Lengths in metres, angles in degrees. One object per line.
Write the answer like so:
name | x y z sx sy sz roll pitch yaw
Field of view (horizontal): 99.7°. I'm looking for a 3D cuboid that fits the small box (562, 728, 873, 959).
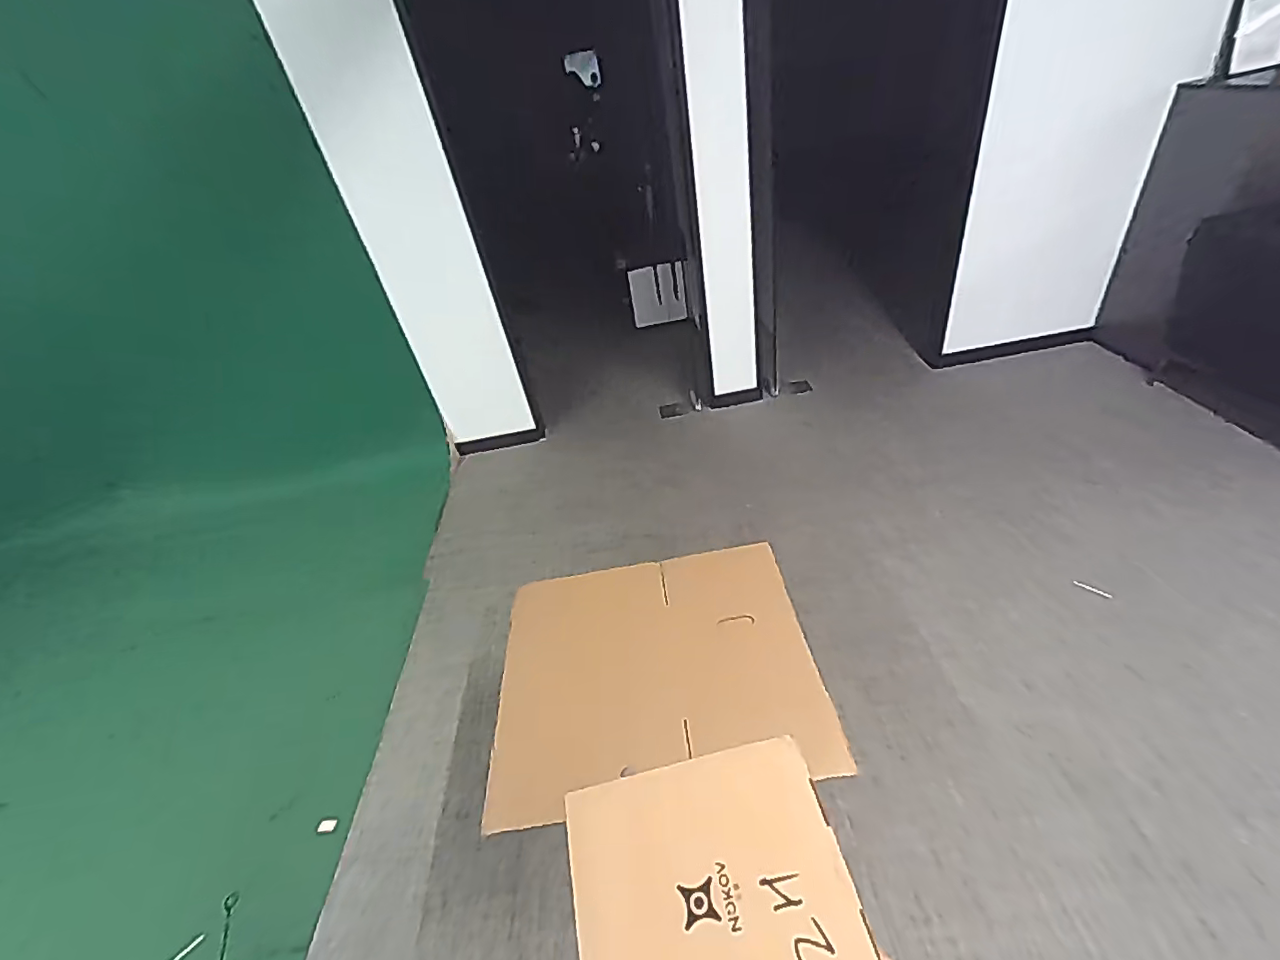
small box | 0.053 0.312 0.399 0.179 0.176 0.168 -14 47 -1
